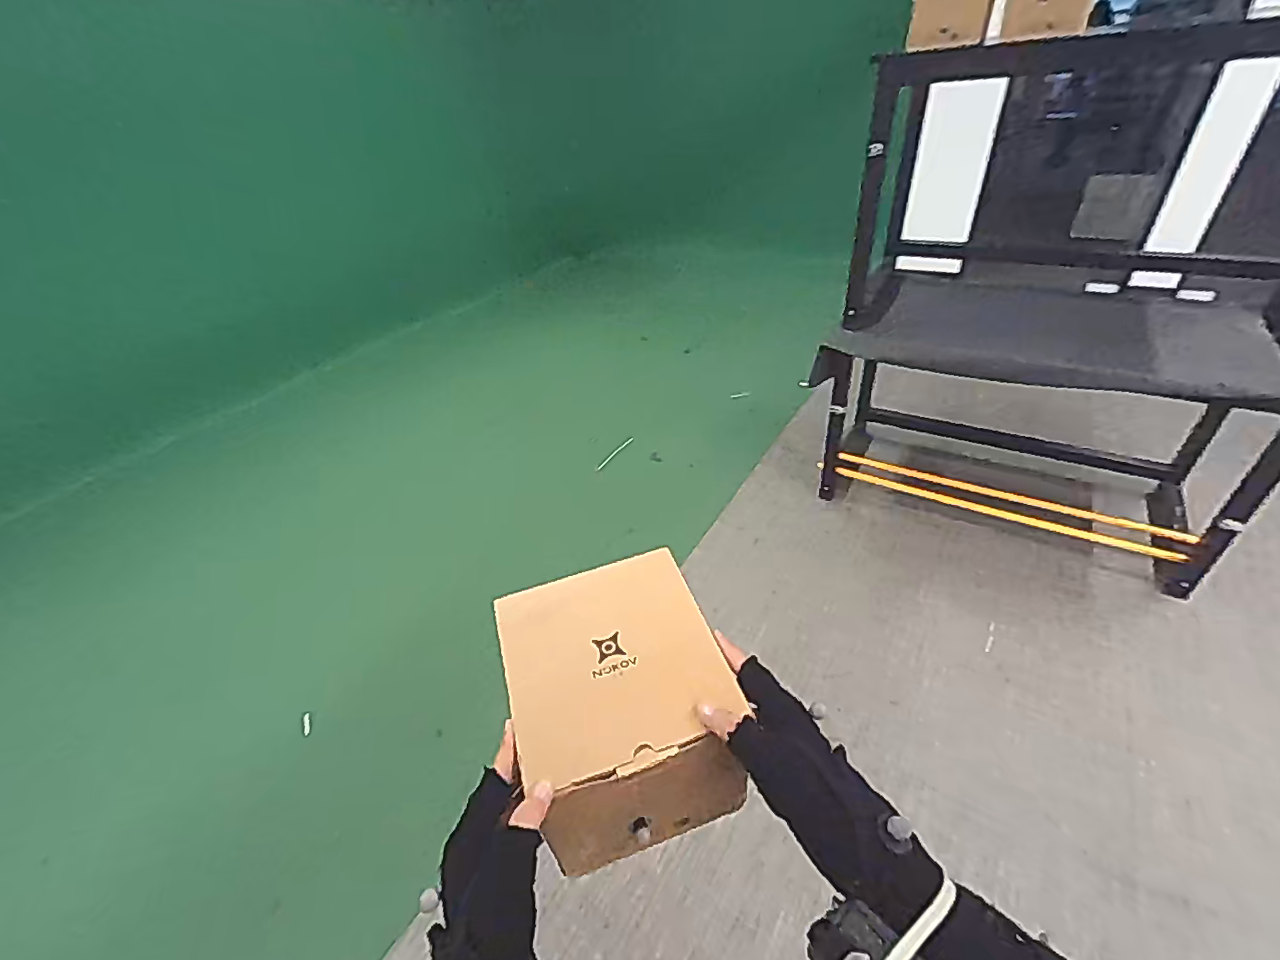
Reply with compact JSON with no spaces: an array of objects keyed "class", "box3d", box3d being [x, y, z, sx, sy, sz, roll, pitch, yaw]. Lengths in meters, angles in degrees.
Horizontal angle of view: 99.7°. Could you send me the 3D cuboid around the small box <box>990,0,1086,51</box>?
[{"class":"small box","box3d":[0.943,-1.120,1.265,0.168,0.176,0.179,18,44,28]}]
